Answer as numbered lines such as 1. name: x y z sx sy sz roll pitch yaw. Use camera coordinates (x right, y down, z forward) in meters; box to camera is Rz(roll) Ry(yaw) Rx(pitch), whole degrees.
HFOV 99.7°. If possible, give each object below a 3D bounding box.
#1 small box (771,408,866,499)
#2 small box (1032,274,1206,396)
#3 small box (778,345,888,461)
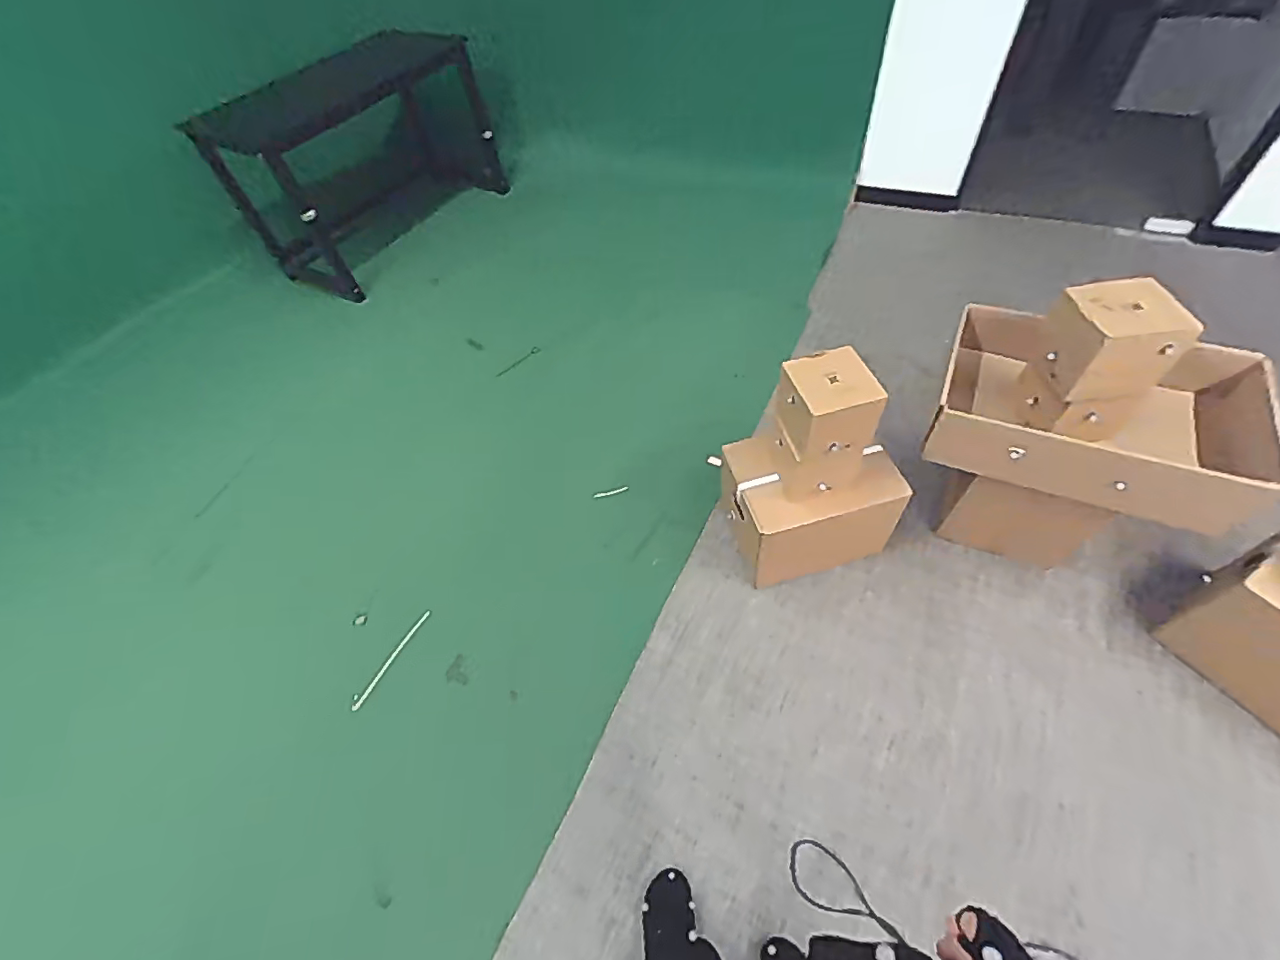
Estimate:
1. small box: 0.436 -0.078 1.356 0.168 0.176 0.179 -12 53 -1
2. small box: 0.959 -0.292 1.105 0.179 0.176 0.168 -6 53 4
3. small box: 0.423 -0.171 1.223 0.168 0.176 0.179 -15 53 -2
